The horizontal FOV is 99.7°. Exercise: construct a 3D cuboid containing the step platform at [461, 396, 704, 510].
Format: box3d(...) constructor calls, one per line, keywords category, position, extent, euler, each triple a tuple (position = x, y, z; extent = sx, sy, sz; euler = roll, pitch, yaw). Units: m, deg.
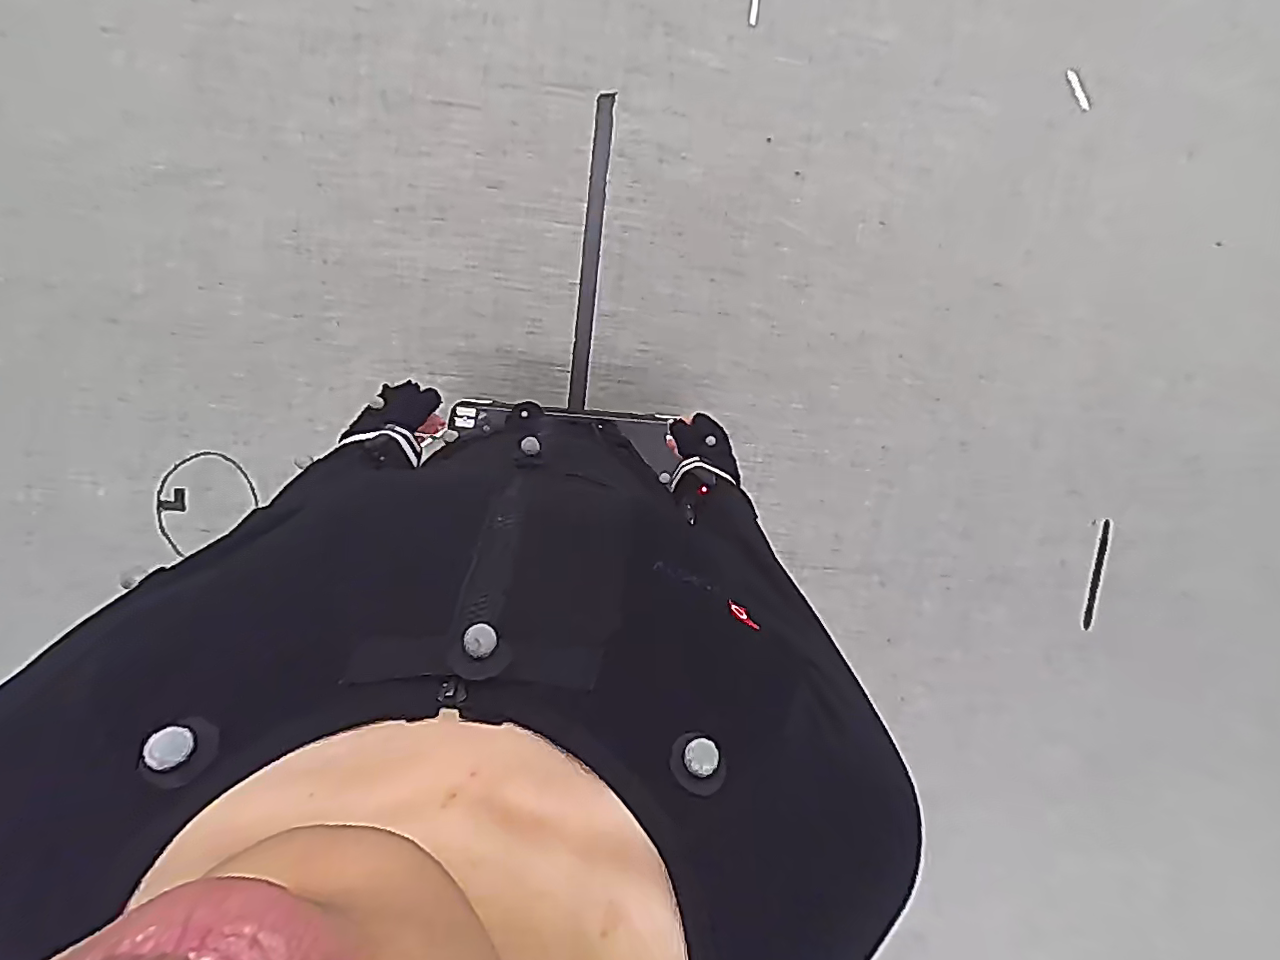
box3d(category="step platform", position=(-0.160, -0.079, 1.560), extent=(0.684, 0.204, 0.286), euler=(3, 99, -7))
